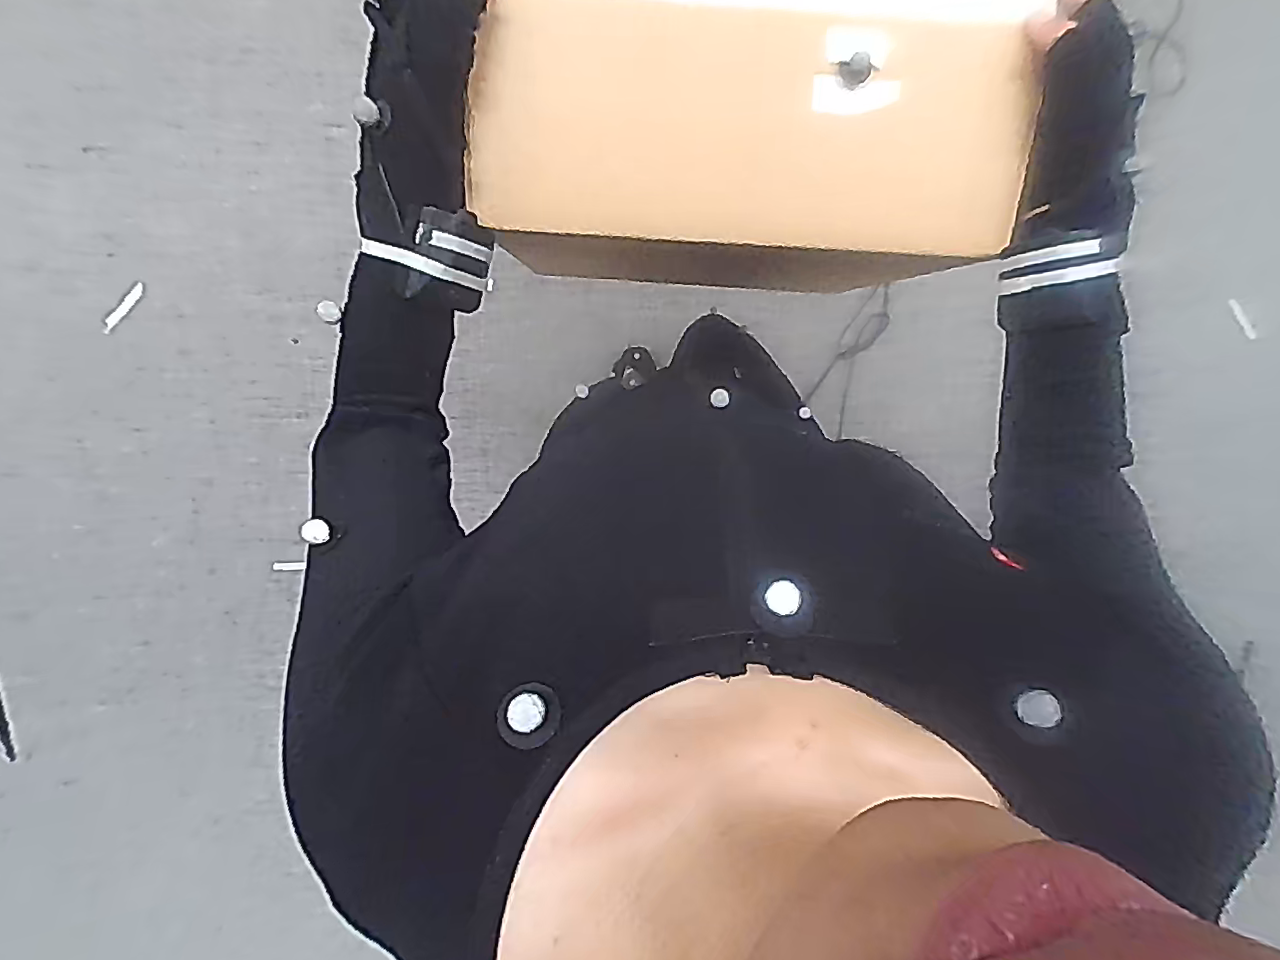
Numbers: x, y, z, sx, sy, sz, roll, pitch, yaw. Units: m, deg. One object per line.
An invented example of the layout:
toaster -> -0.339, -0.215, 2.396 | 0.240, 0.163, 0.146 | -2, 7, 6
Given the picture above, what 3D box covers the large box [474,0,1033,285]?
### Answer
large box -> 0.074, -0.373, 0.524 | 0.408, 0.320, 0.320 | 2, 104, -3
